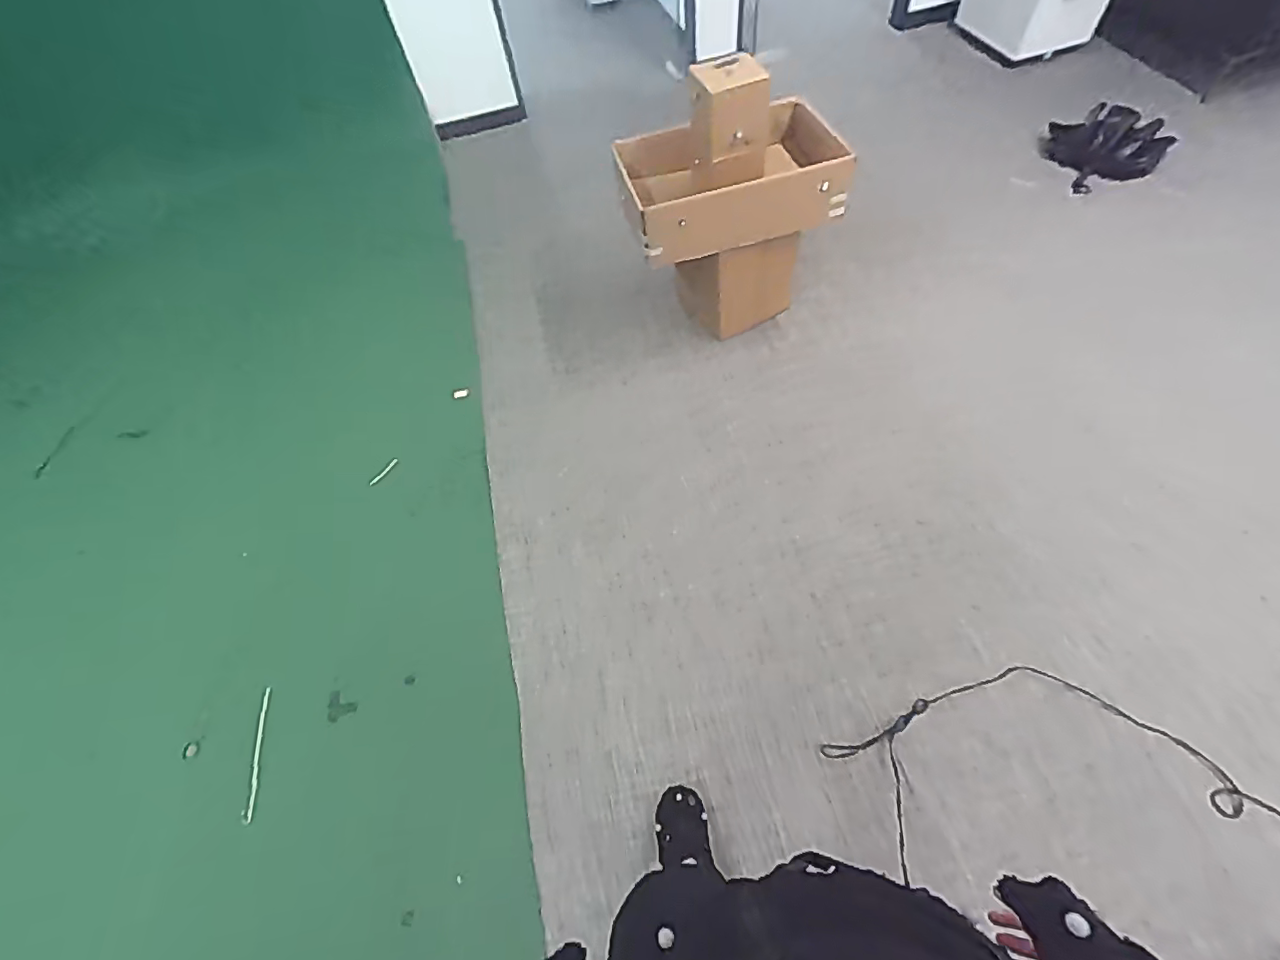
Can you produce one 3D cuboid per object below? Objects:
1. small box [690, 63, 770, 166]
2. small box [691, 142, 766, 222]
[{"bbox_3d":[0.241,-1.000,1.485,0.168,0.176,0.179,-18,57,-3],"label":"small box"},{"bbox_3d":[0.260,-0.910,1.621,0.168,0.176,0.179,-19,57,-4],"label":"small box"}]
